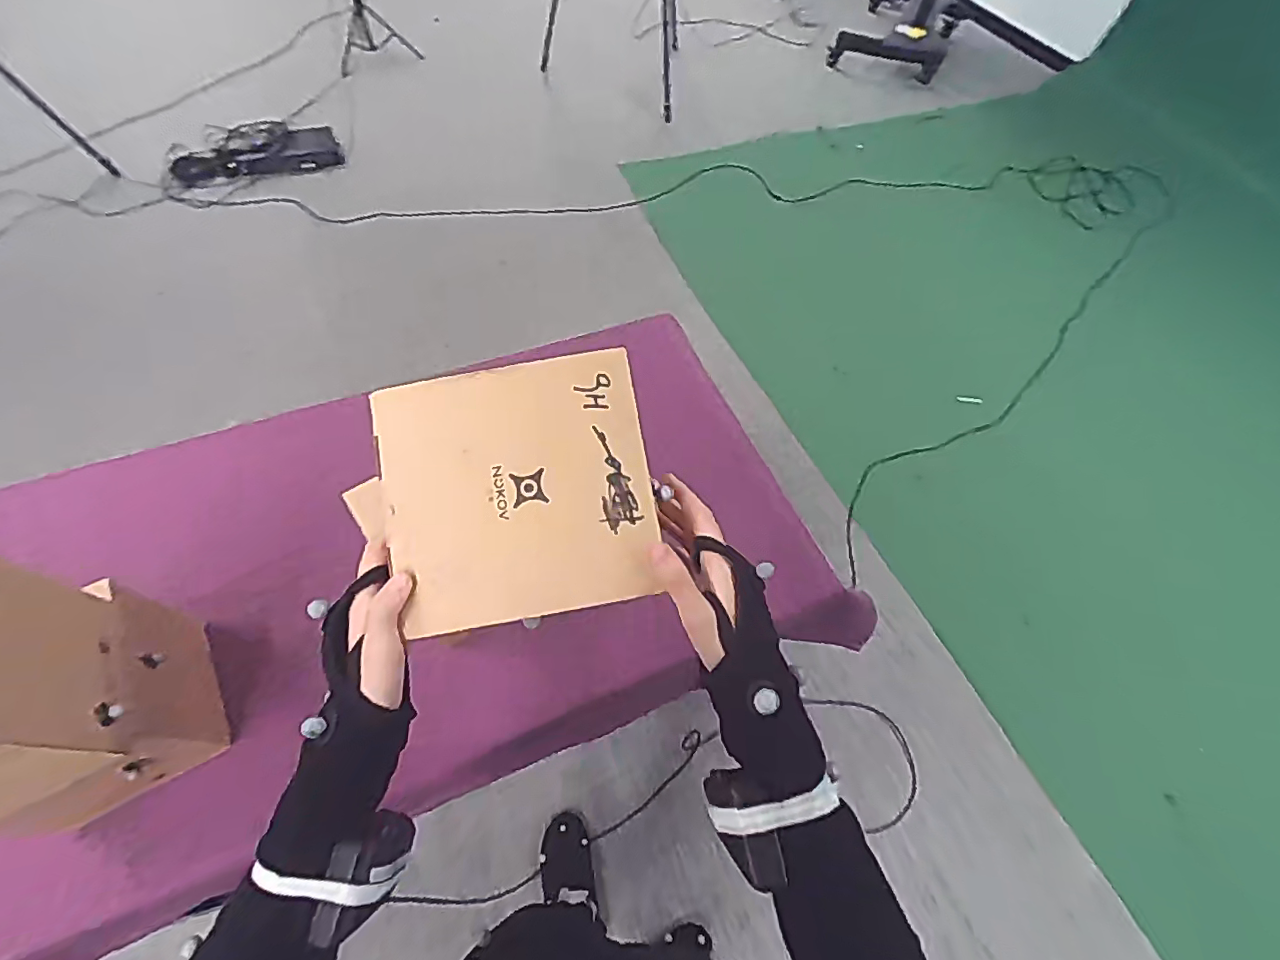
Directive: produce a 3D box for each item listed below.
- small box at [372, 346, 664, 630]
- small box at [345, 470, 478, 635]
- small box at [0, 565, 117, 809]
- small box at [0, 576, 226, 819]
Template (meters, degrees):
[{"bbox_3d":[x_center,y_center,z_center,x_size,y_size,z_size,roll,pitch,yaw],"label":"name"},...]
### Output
[{"bbox_3d":[-0.078,0.013,0.424,0.179,0.176,0.168,-9,84,1],"label":"small box"},{"bbox_3d":[-0.239,0.071,0.700,0.168,0.176,0.179,-32,66,-19],"label":"small box"},{"bbox_3d":[-0.573,0.177,0.432,0.179,0.176,0.168,-26,65,-18],"label":"small box"},{"bbox_3d":[-0.592,0.238,0.585,0.168,0.176,0.179,-25,64,-18],"label":"small box"}]
